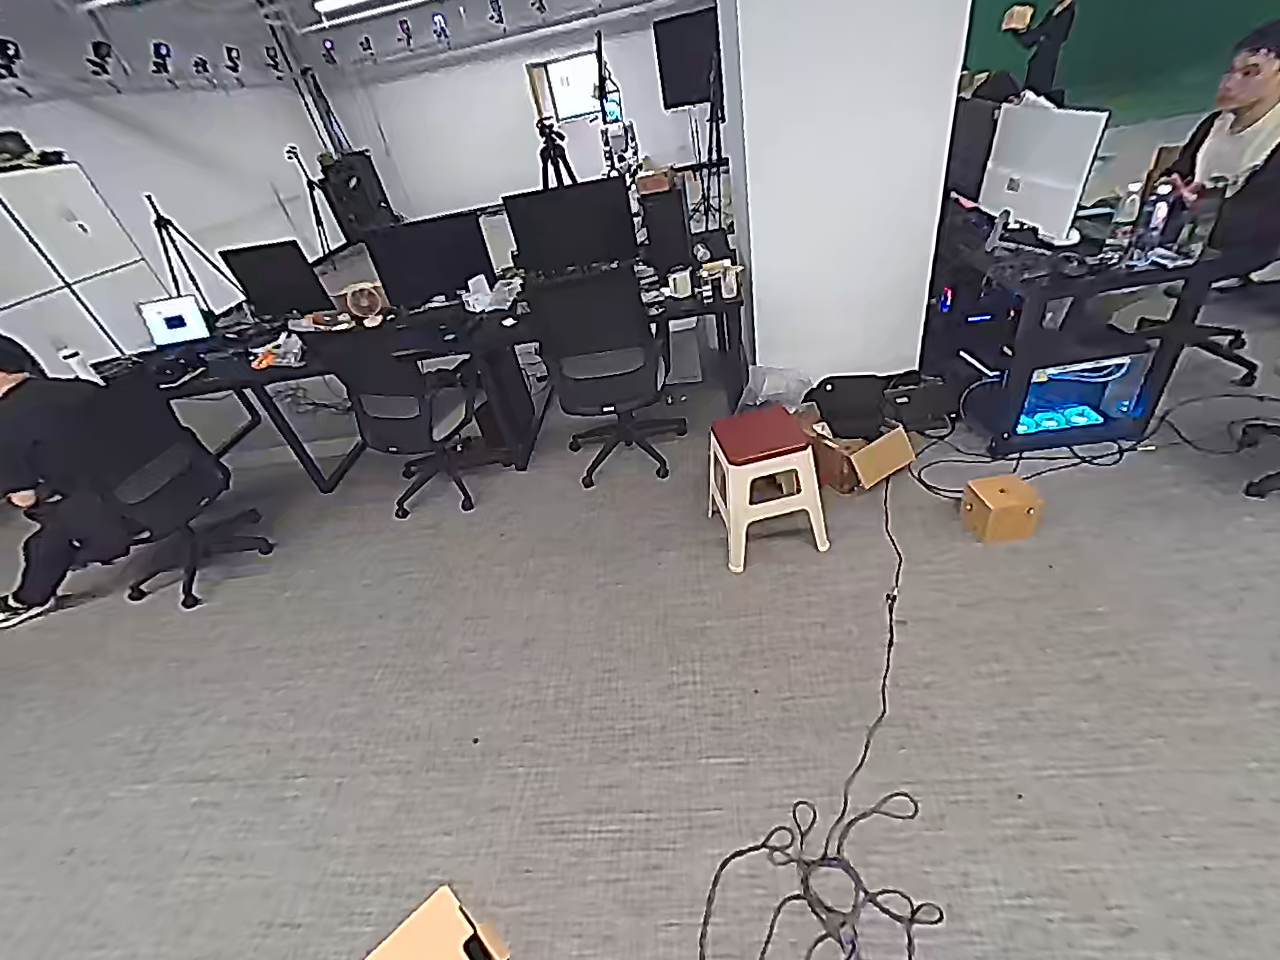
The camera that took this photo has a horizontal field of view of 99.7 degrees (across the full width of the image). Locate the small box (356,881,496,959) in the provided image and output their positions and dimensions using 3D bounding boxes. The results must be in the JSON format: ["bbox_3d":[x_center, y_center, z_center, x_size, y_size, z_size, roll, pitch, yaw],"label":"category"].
[{"bbox_3d":[-0.228,0.578,0.553,0.168,0.176,0.179,34,42,29],"label":"small box"}]
